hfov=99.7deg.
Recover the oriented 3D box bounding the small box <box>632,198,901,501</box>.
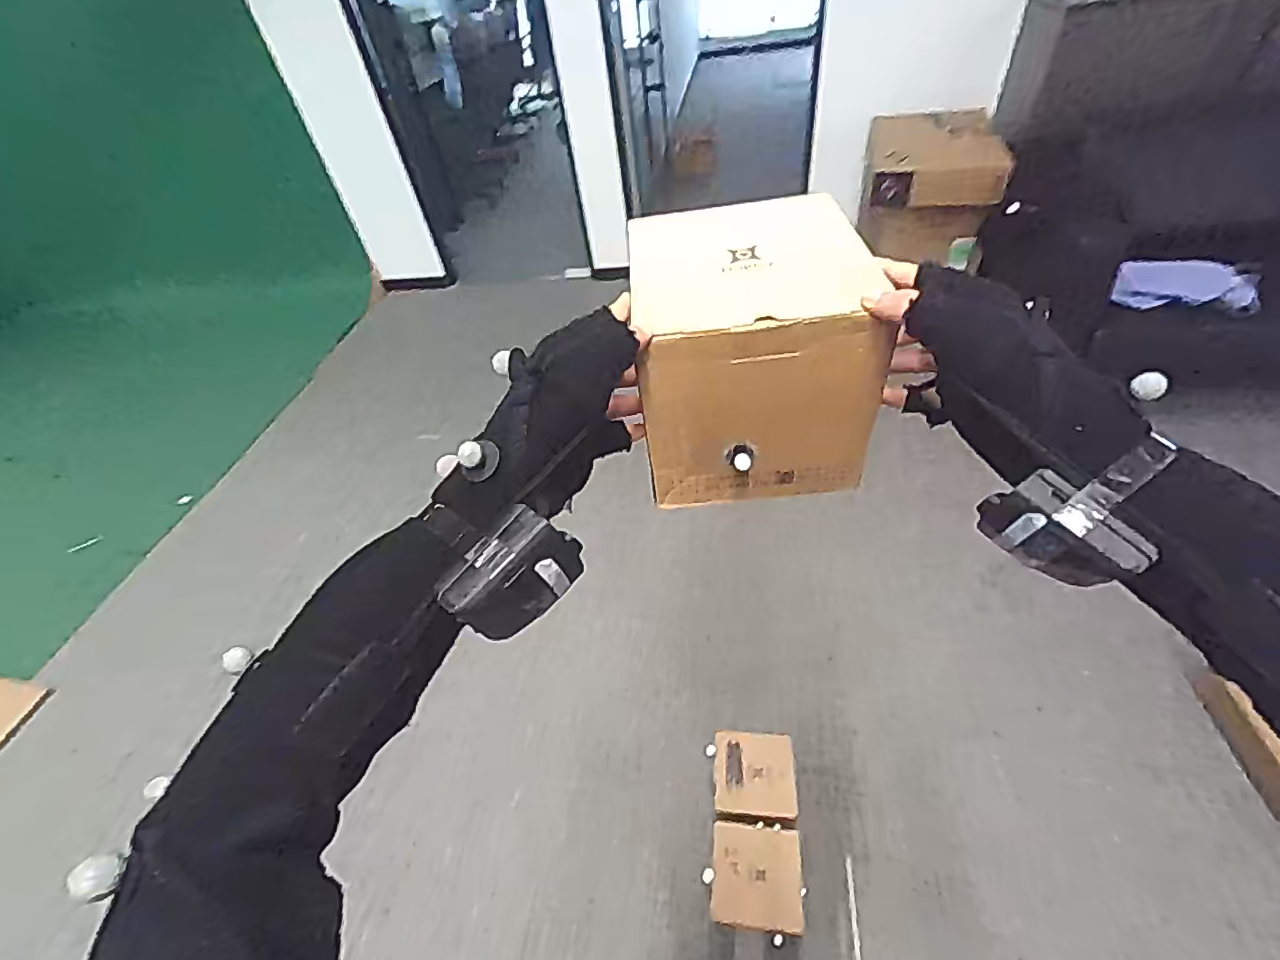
[{"bbox_3d":[0.083,-0.105,0.445,0.168,0.176,0.179,-6,48,3],"label":"small box"}]
